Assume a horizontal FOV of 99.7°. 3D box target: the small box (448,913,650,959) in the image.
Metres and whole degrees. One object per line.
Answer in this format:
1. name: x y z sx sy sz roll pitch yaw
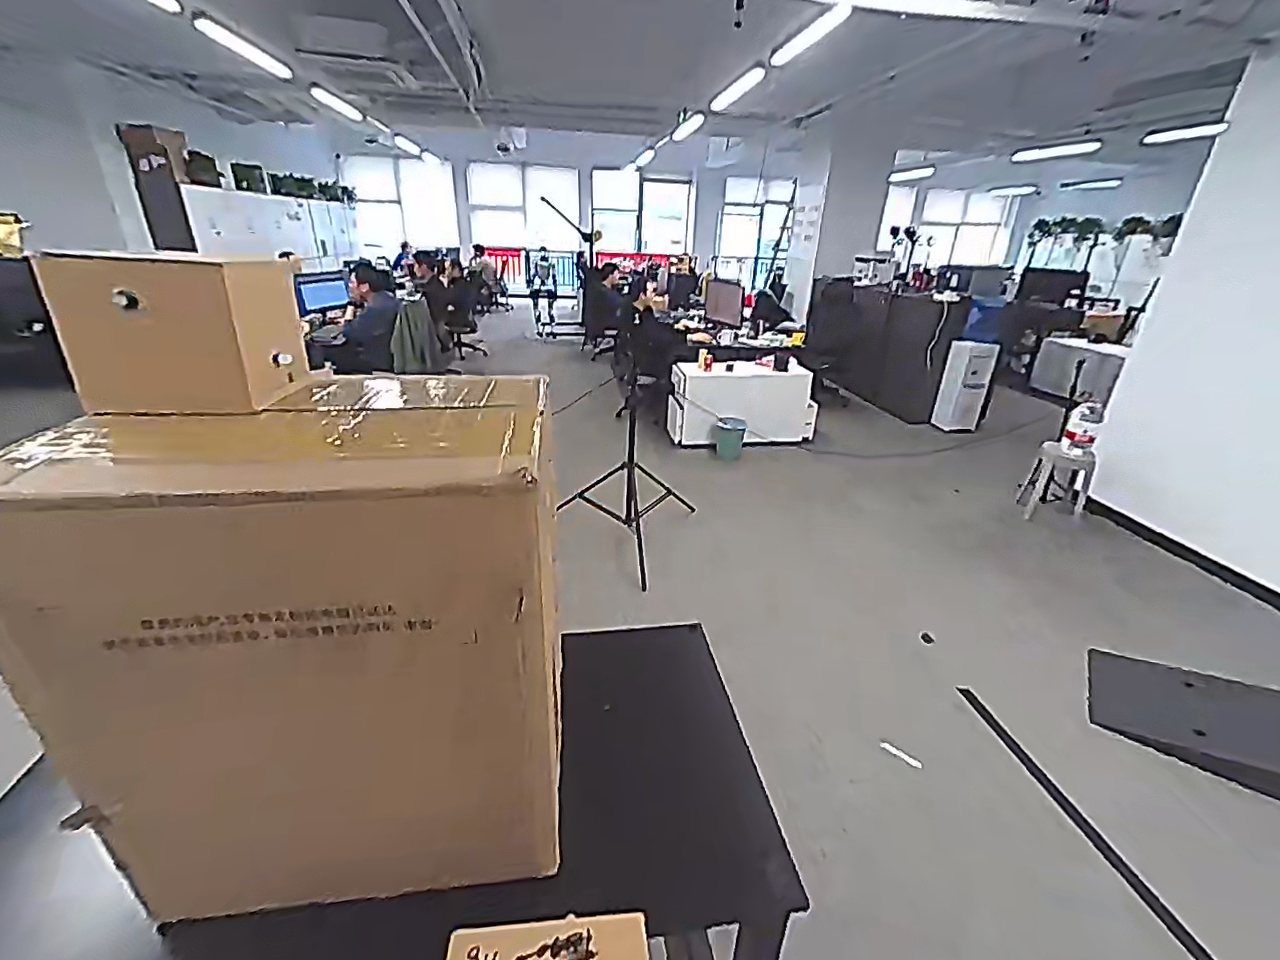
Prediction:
1. small box: -0.069 0.485 0.414 0.168 0.176 0.179 0 23 -8

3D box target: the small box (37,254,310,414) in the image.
1. small box: -0.538 -0.180 0.658 0.179 0.176 0.168 -1 23 -9
